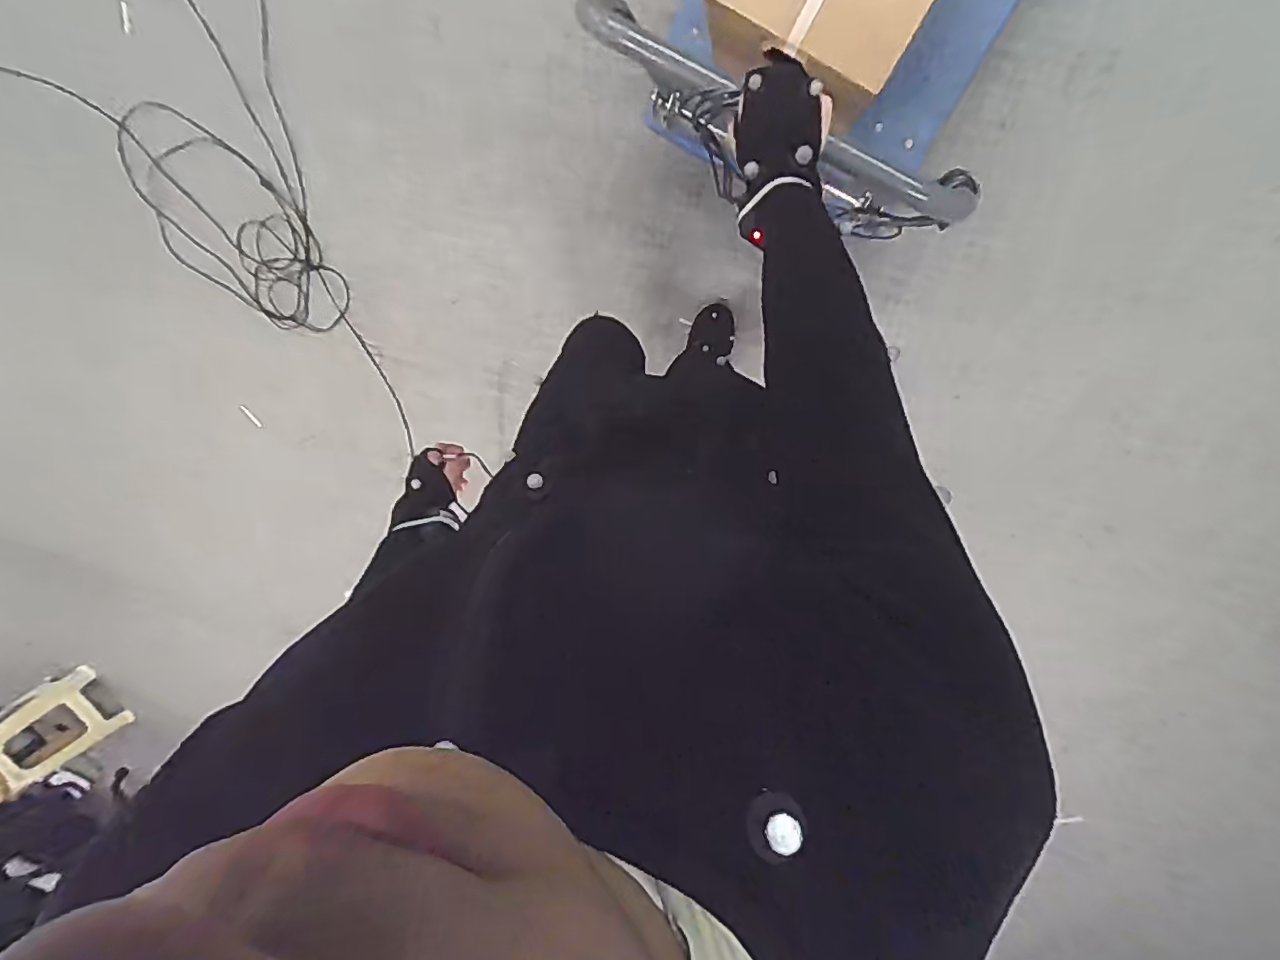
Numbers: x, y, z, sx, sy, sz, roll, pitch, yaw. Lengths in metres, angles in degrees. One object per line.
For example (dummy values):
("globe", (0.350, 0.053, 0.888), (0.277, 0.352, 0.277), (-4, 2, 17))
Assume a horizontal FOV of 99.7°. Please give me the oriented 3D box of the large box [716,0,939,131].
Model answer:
("large box", (0.357, -0.882, 0.881), (0.320, 0.320, 0.408), (30, 113, -3))
